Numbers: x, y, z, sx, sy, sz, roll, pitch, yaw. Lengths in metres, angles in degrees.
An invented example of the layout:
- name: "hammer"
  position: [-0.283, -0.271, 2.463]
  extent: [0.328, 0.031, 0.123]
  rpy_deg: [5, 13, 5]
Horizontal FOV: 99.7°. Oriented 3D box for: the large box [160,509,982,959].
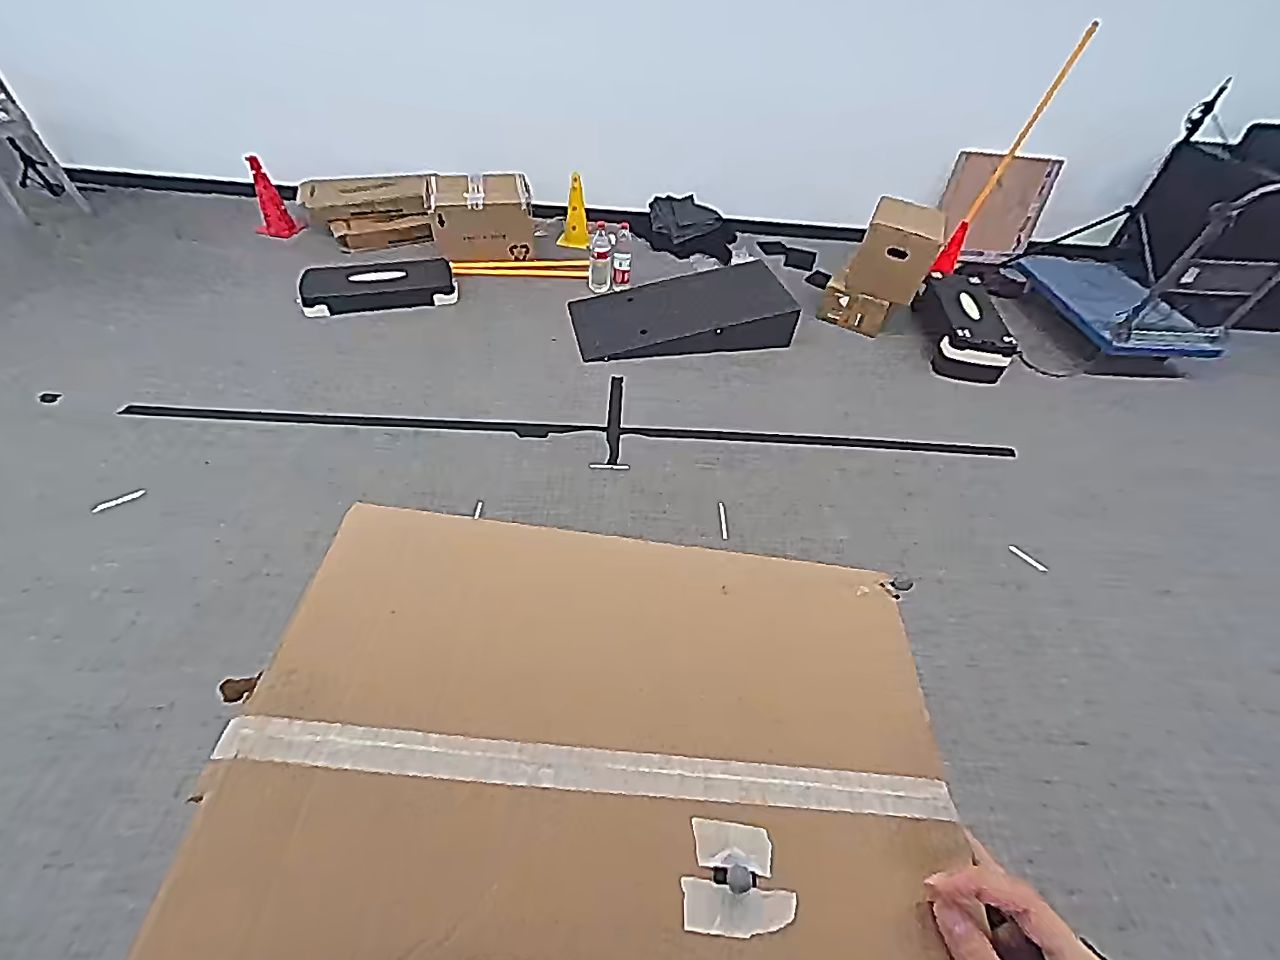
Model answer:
- name: "large box"
  position: [-0.036, 0.257, 0.431]
  extent: [0.408, 0.320, 0.320]
  rpy_deg: [9, 51, -5]
